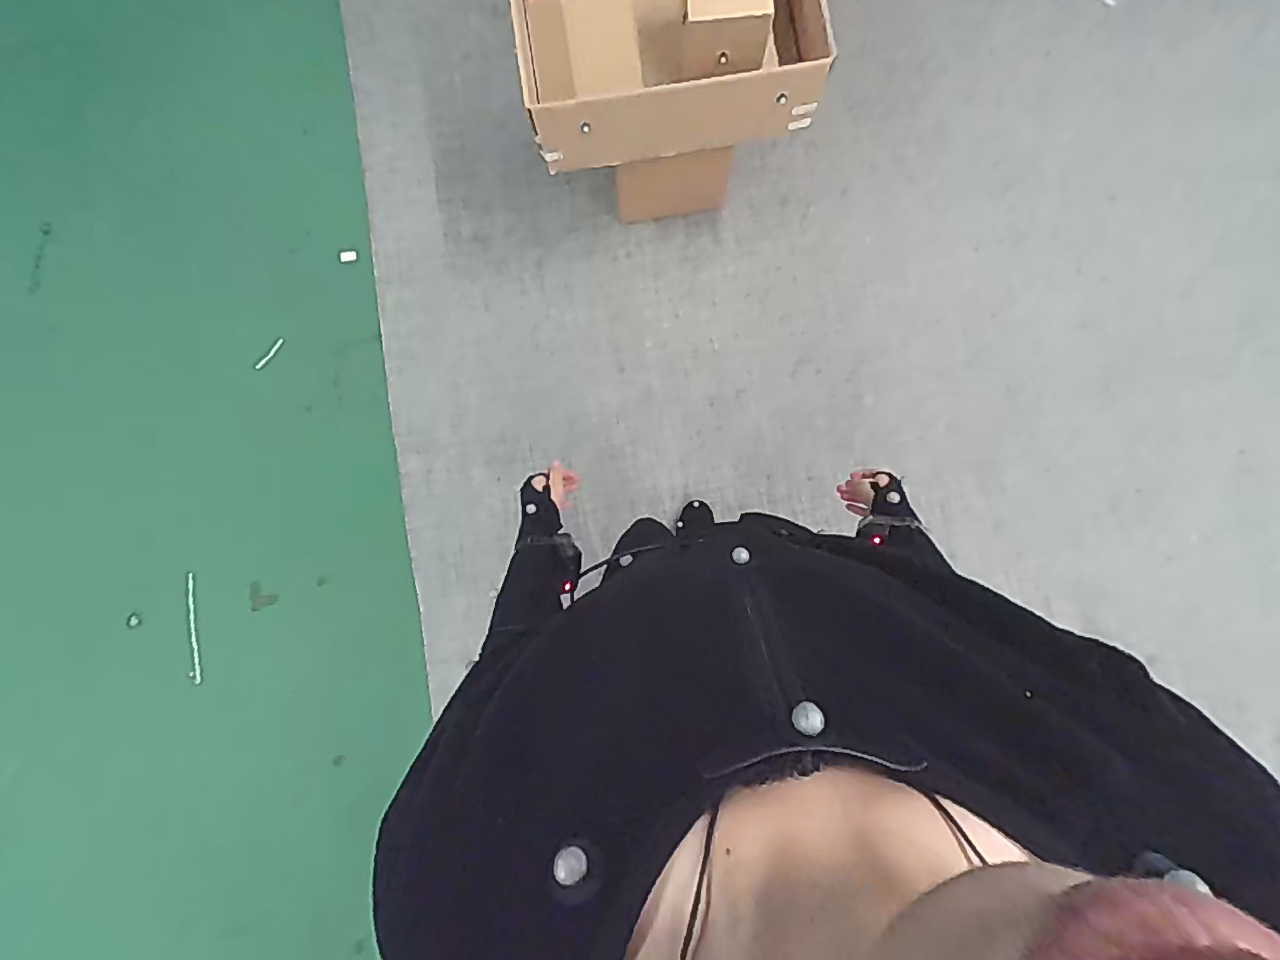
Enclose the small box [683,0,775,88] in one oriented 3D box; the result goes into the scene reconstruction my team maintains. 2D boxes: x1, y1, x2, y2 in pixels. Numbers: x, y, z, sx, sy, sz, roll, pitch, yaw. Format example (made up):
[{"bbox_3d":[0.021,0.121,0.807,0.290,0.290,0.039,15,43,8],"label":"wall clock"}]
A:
[{"bbox_3d":[0.177,-0.947,1.114,0.168,0.176,0.179,-3,84,2],"label":"small box"}]
